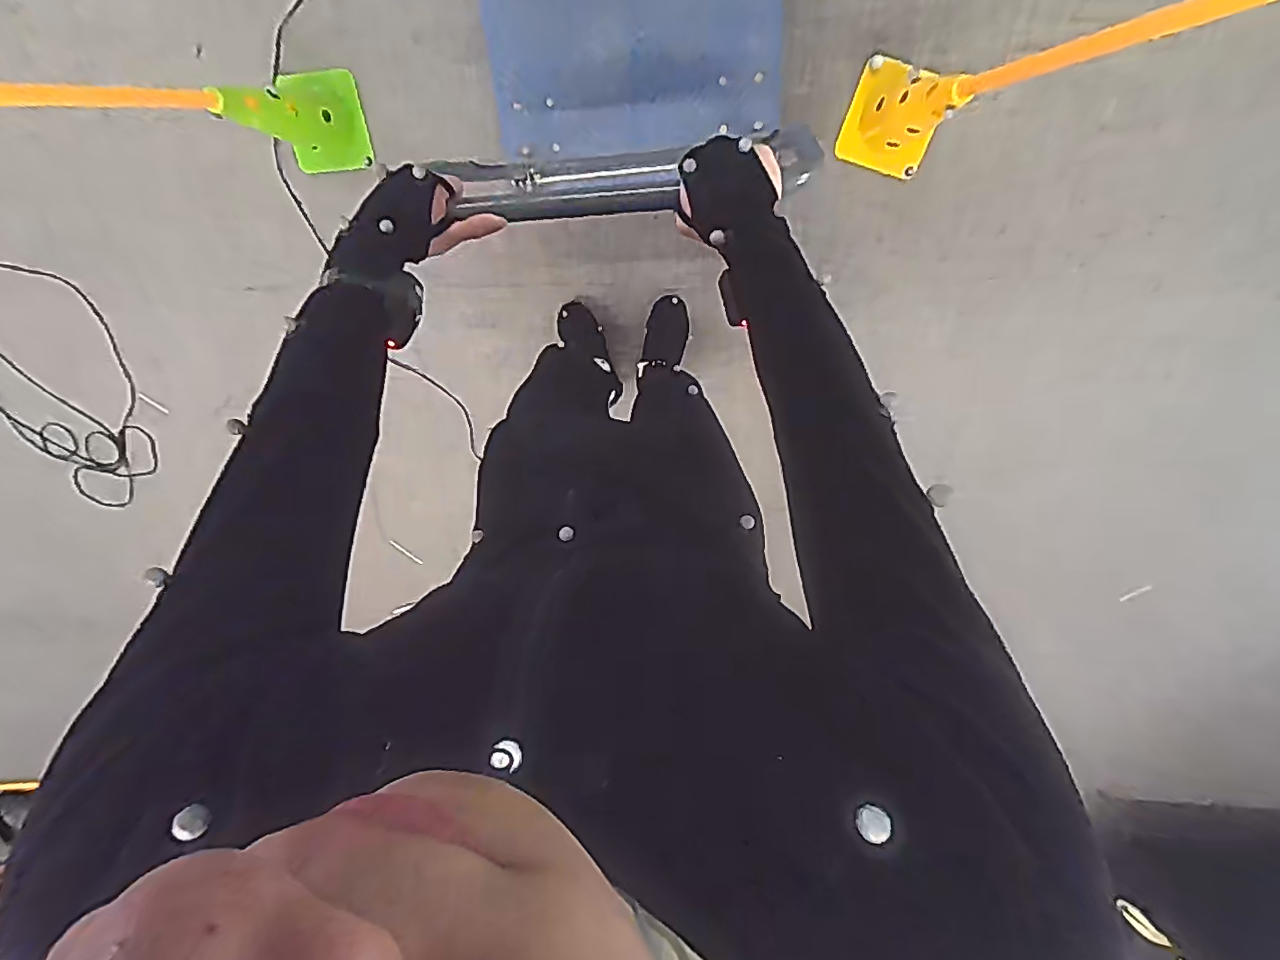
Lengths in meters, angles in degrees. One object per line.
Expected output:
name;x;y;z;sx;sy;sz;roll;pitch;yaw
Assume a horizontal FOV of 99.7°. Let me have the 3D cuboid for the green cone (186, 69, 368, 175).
green cone;-0.781;-0.771;1.136;0.202;0.368;0.200;-2;116;8
